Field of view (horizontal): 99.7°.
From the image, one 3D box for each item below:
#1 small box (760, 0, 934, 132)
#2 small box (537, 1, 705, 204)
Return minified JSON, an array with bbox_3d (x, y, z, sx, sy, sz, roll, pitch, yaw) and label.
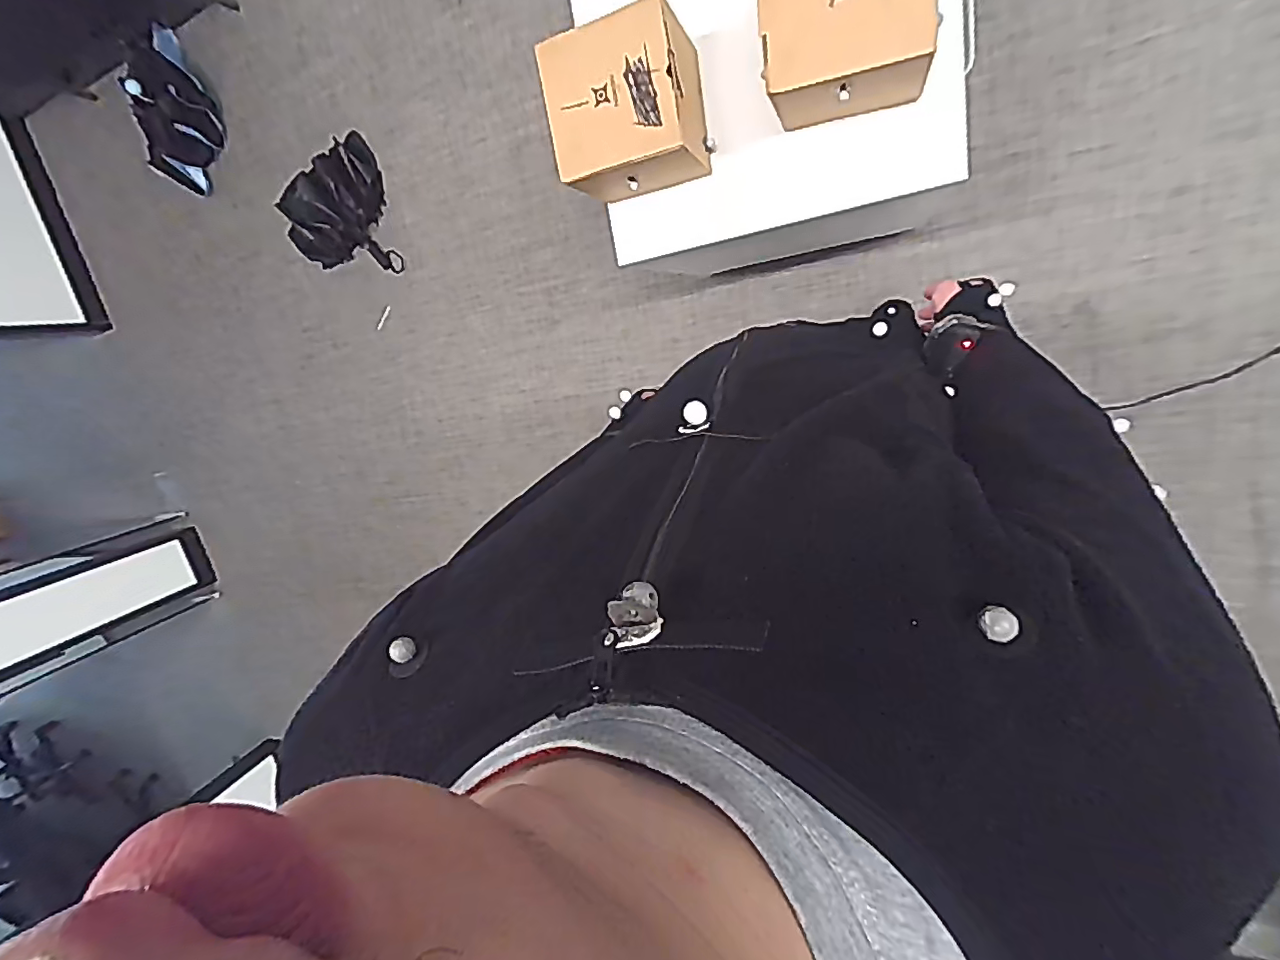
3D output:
[{"bbox_3d":[0.244,-0.540,0.642,0.179,0.176,0.168,0,109,21],"label":"small box"},{"bbox_3d":[-0.013,-0.503,0.753,0.179,0.176,0.168,-4,105,23],"label":"small box"}]
